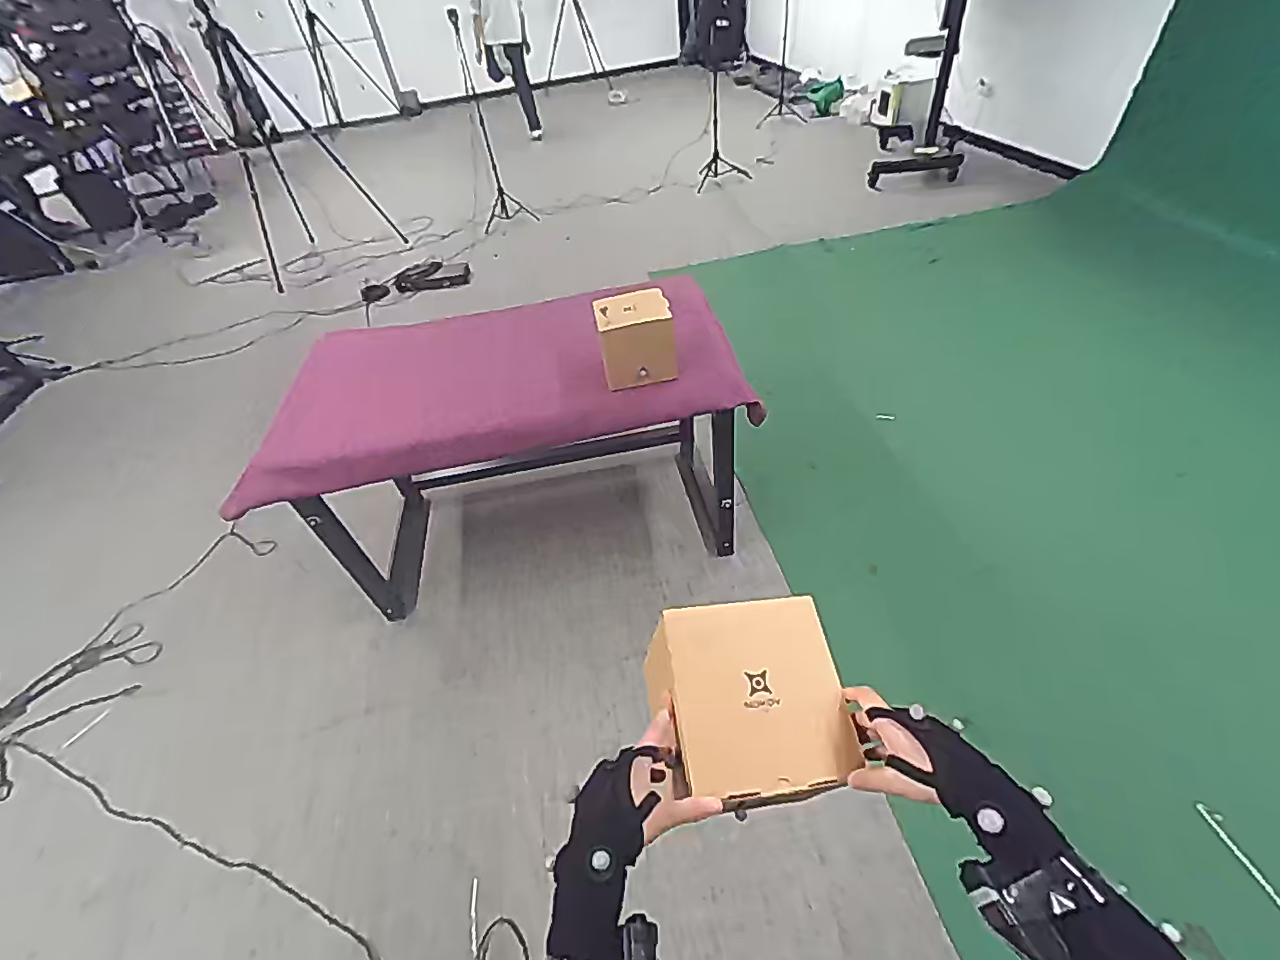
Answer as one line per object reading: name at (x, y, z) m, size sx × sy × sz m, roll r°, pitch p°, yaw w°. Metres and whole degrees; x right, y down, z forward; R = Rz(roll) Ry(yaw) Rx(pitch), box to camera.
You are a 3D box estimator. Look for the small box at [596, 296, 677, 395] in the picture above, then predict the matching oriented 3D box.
small box at (-0.005, -0.336, 1.353) m, size 0.179 × 0.176 × 0.168 m, roll -11°, pitch 42°, yaw -1°
